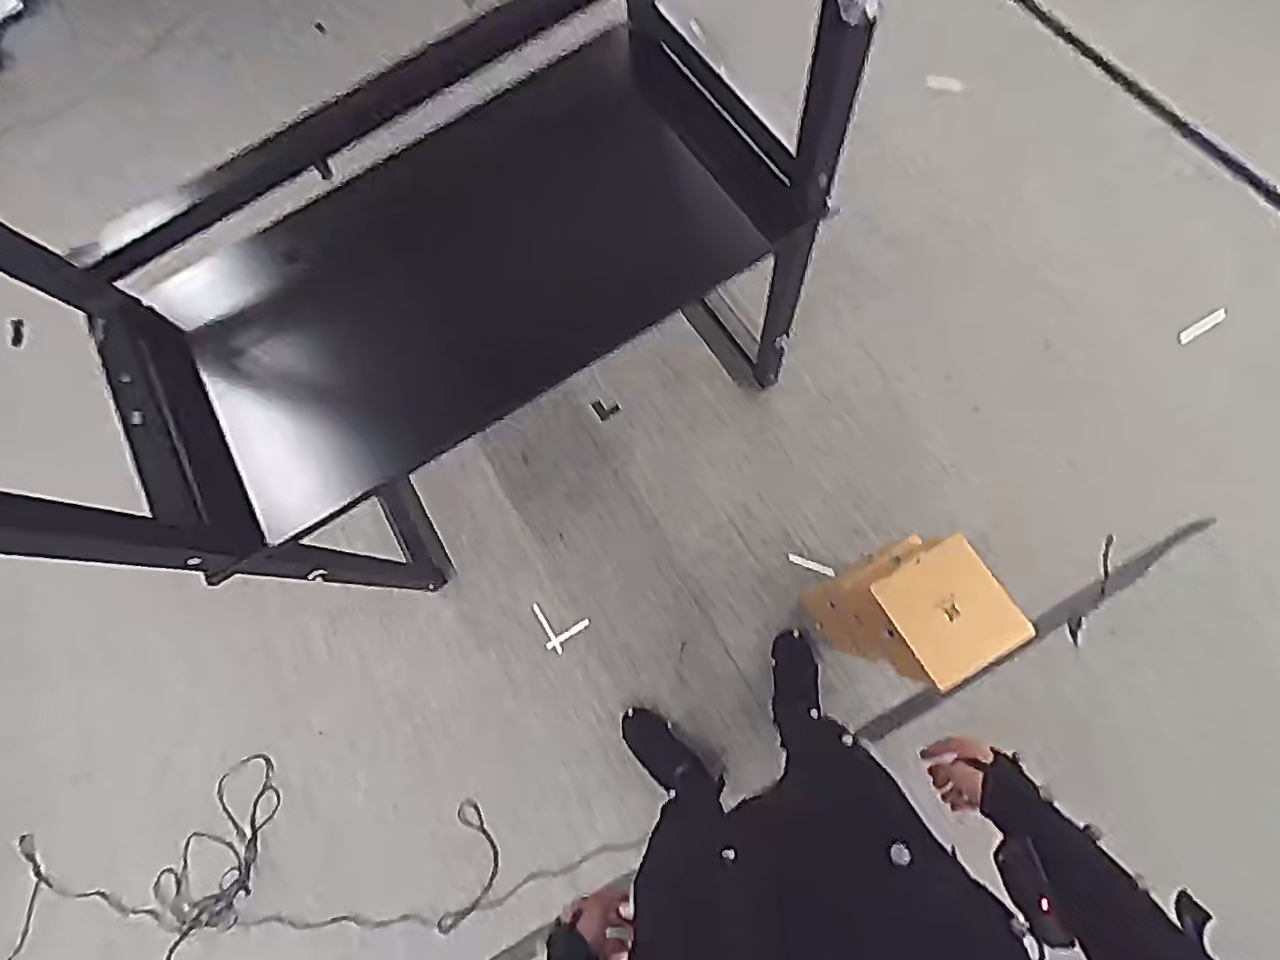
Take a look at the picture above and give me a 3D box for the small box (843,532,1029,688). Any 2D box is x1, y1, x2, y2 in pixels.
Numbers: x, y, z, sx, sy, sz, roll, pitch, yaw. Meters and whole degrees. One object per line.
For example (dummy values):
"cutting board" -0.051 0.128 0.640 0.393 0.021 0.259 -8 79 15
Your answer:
"small box" 0.462 0.206 0.876 0.168 0.176 0.179 -31 75 -1

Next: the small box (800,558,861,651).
"small box" 0.526 0.305 1.353 0.179 0.176 0.168 -33 75 -1

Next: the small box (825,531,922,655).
"small box" 0.478 0.223 1.038 0.179 0.176 0.168 -34 76 -3
